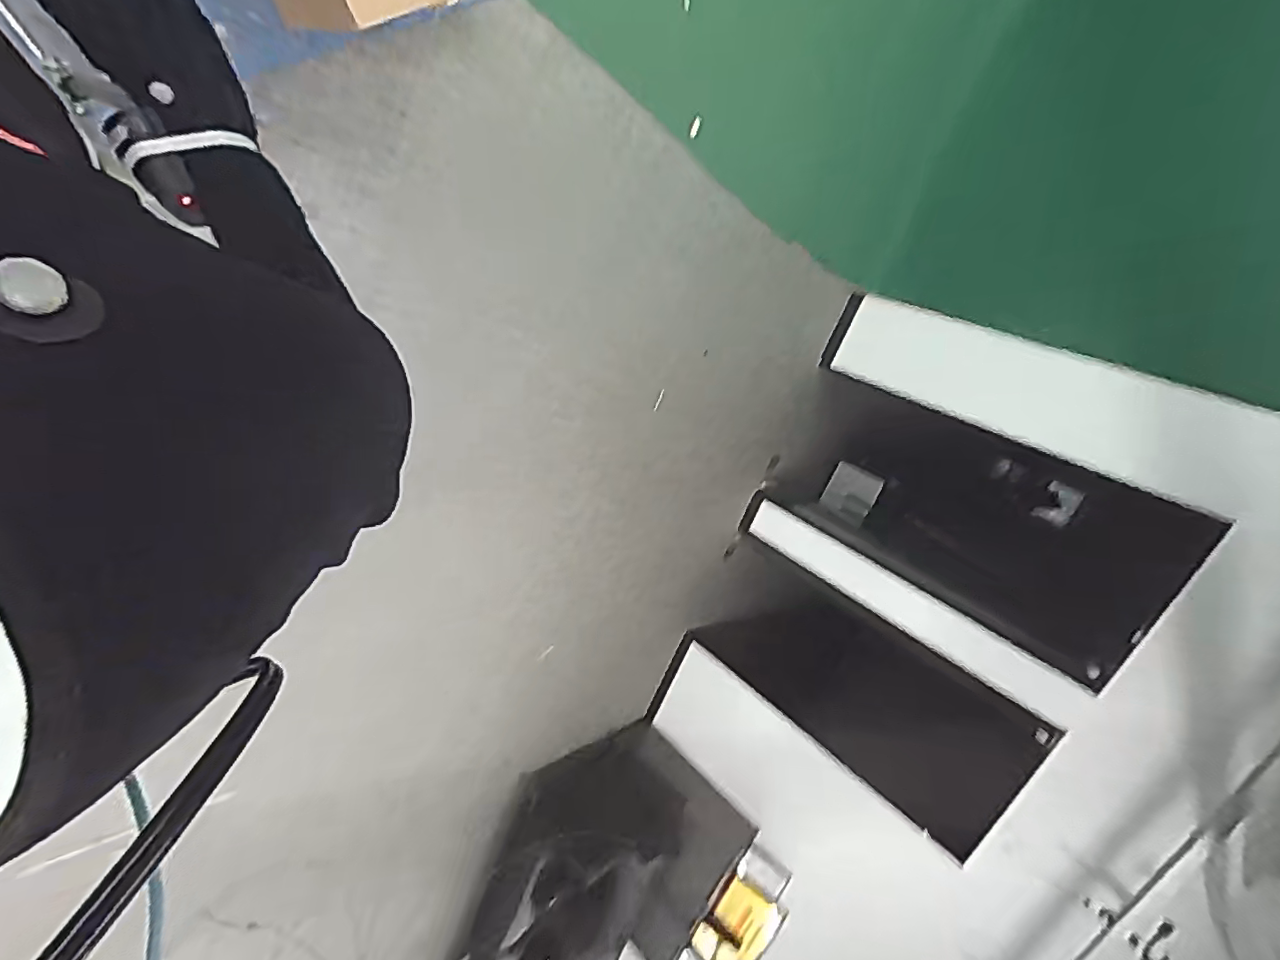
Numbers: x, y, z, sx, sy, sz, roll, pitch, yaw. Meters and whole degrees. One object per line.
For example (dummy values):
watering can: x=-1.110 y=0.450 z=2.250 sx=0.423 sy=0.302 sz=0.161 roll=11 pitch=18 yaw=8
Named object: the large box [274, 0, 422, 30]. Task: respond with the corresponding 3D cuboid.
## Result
large box: x=-0.429 y=-0.912 z=0.734 sx=0.320 sy=0.320 sz=0.408 roll=-41 pitch=142 yaw=-21
